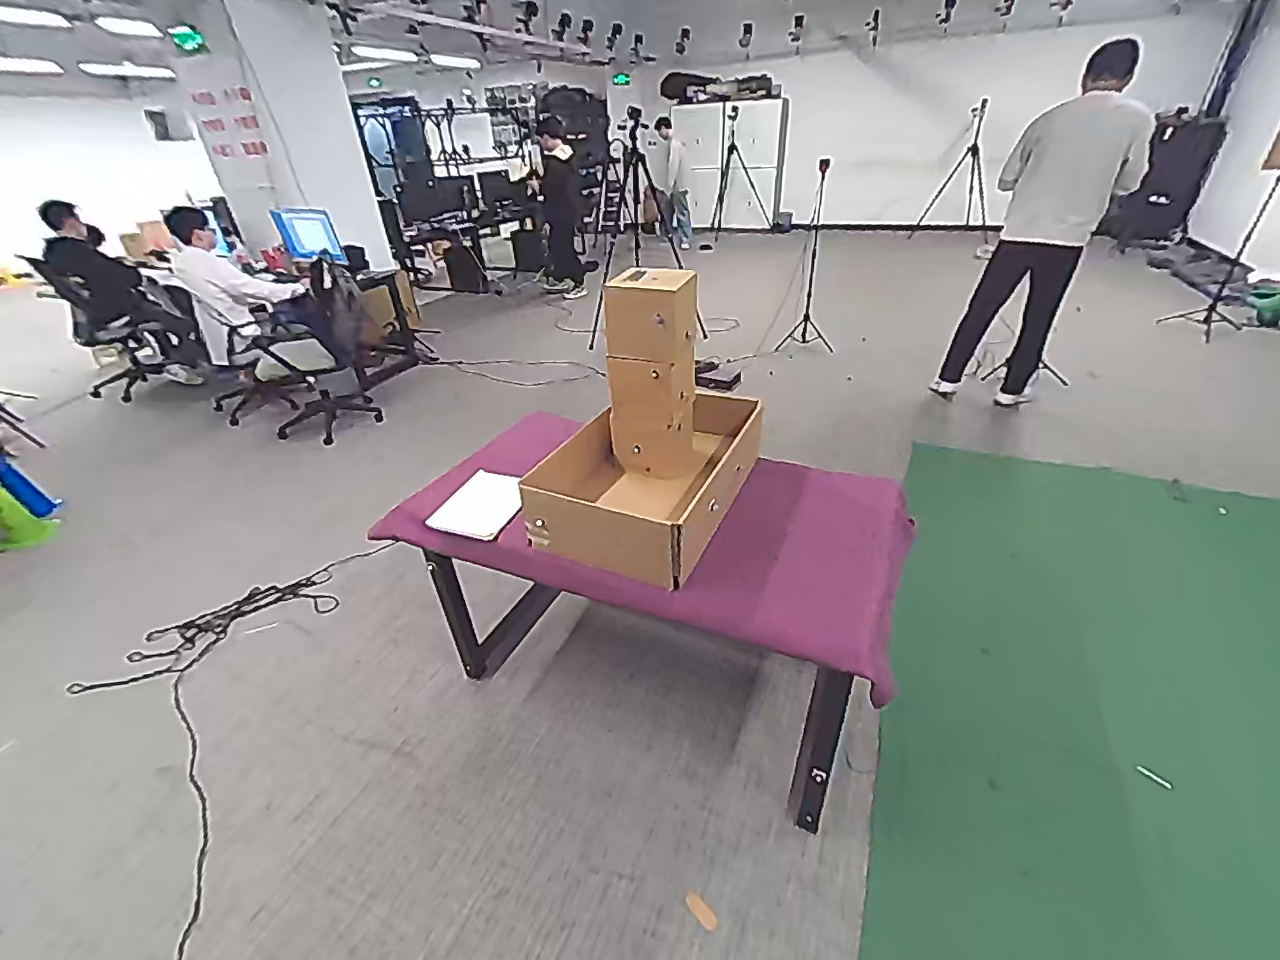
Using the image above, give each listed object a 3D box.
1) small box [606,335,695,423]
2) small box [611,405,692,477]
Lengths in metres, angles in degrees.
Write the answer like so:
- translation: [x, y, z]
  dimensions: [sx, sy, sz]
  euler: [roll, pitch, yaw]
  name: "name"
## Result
- translation: [0.033, -0.259, 1.381]
  dimensions: [0.179, 0.176, 0.168]
  euler: [12, 38, 22]
  name: "small box"
- translation: [0.040, -0.128, 1.476]
  dimensions: [0.168, 0.176, 0.179]
  euler: [13, 38, 24]
  name: "small box"
